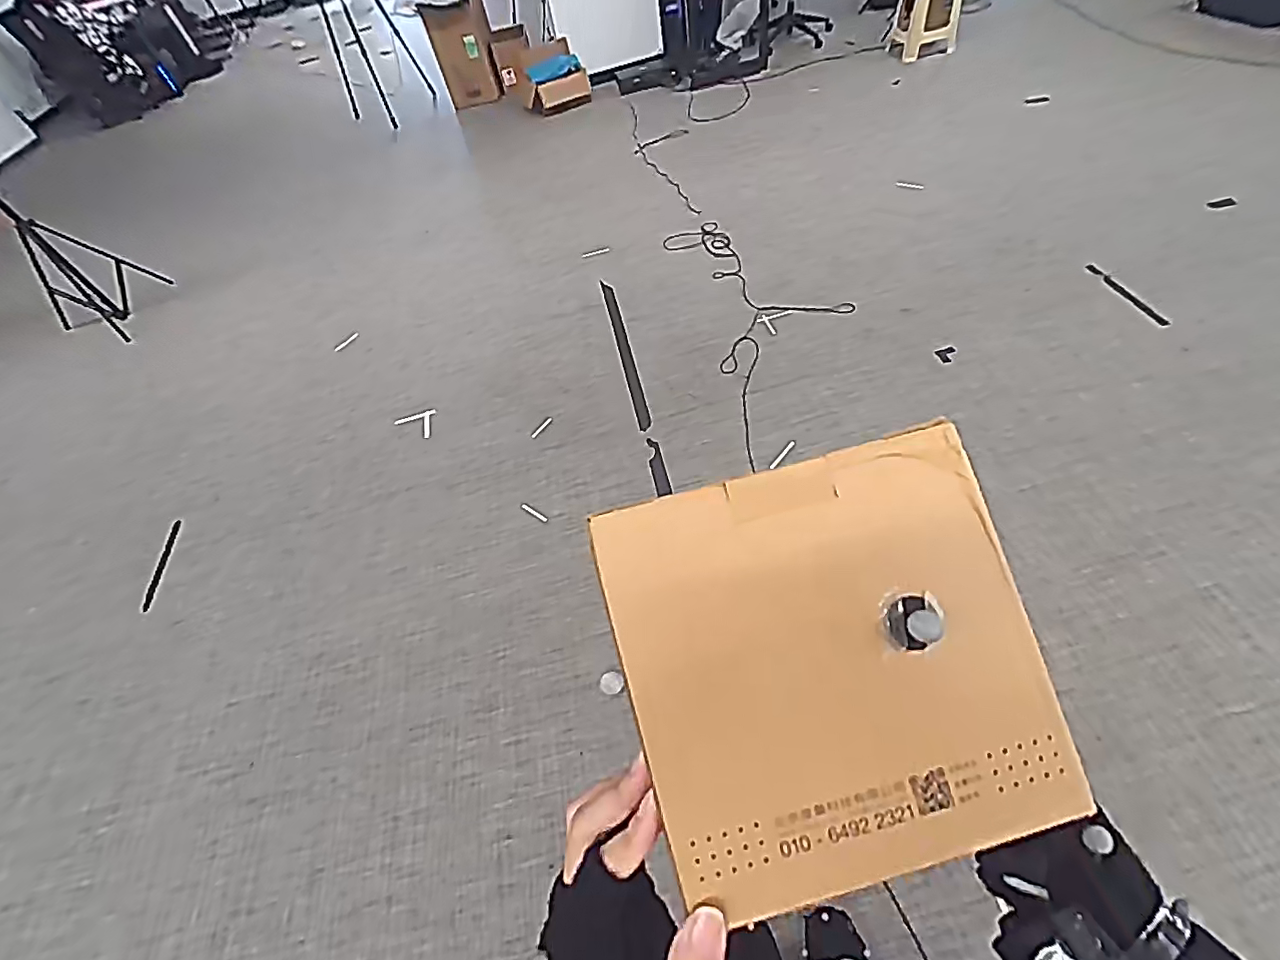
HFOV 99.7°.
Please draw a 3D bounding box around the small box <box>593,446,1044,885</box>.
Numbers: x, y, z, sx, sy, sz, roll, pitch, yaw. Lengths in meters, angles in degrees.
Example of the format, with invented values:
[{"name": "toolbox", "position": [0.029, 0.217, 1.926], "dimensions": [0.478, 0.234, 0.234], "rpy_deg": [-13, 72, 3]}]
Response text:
[{"name": "small box", "position": [0.080, 0.096, 0.316], "dimensions": [0.168, 0.179, 0.176], "rpy_deg": [-15, 82, -1]}]
